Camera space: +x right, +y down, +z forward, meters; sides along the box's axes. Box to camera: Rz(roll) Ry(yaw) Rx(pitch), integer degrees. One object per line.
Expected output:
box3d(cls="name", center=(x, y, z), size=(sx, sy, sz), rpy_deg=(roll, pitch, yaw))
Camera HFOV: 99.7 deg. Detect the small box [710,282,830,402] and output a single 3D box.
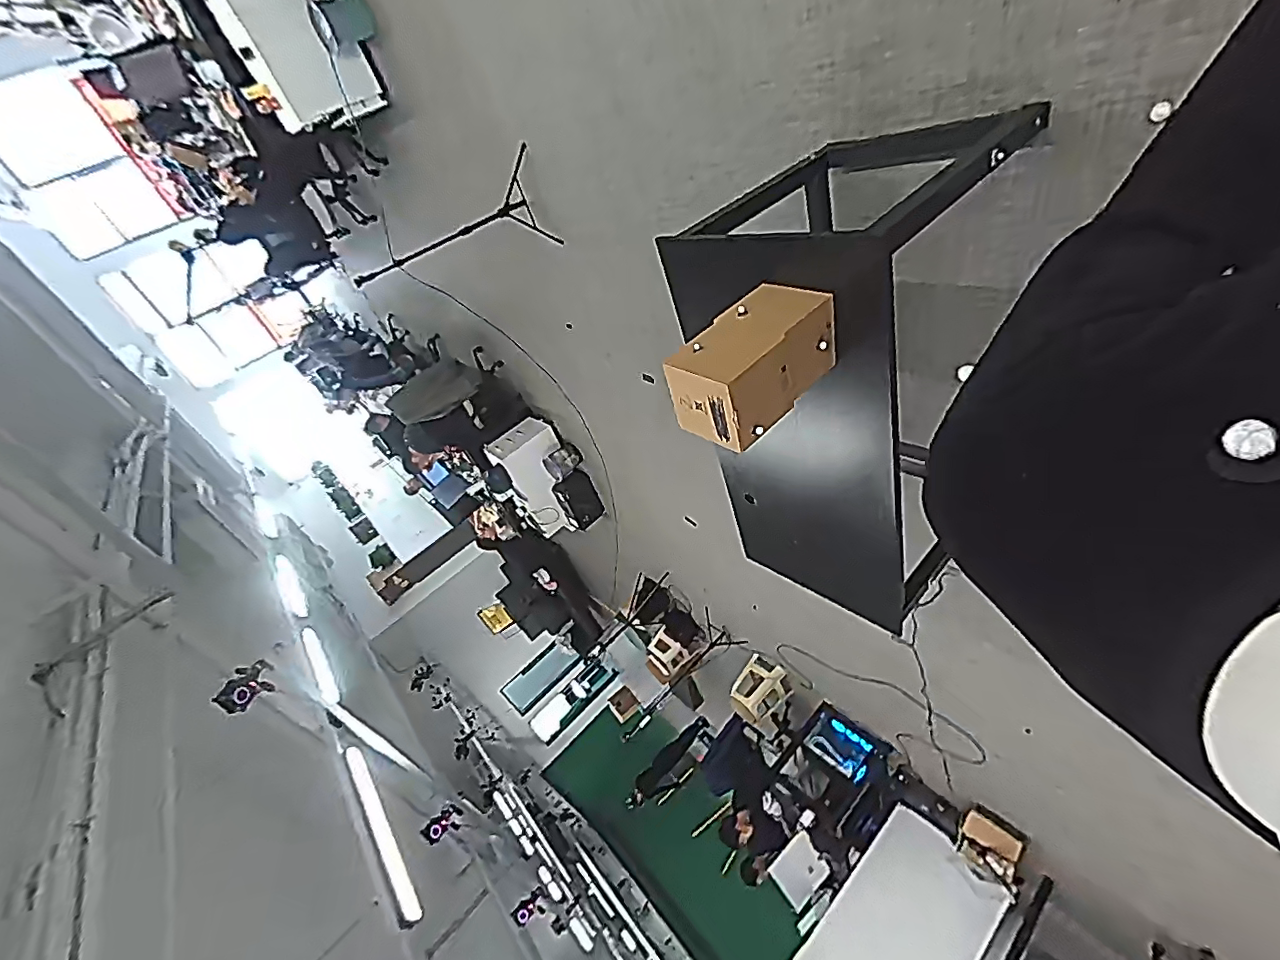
box3d(cls="small box", center=(0.276, -0.296, 1.137), size=(0.179, 0.176, 0.168), rpy_deg=(30, 152, 41))
